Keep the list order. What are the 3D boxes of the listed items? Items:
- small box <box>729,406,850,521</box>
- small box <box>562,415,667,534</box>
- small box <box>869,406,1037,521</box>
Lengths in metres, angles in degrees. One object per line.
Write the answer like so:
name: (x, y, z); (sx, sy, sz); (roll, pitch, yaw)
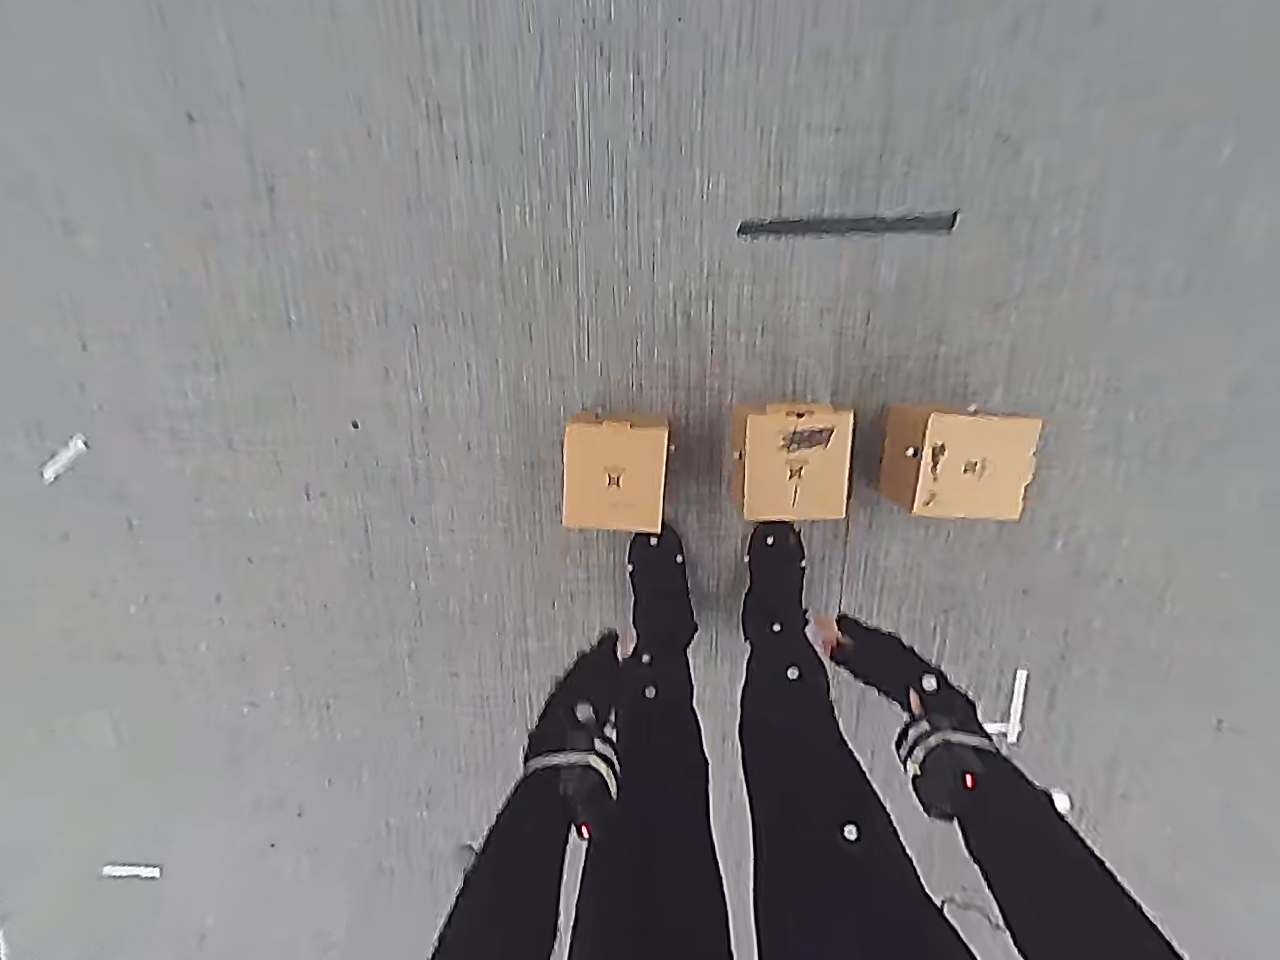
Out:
small box: (0.247, -0.036, 0.936); (0.168, 0.176, 0.179); (0, 104, 2)
small box: (-0.040, -0.018, 0.952); (0.168, 0.176, 0.179); (3, 105, 2)
small box: (0.524, -0.035, 0.930); (0.179, 0.176, 0.168); (3, 104, 0)
